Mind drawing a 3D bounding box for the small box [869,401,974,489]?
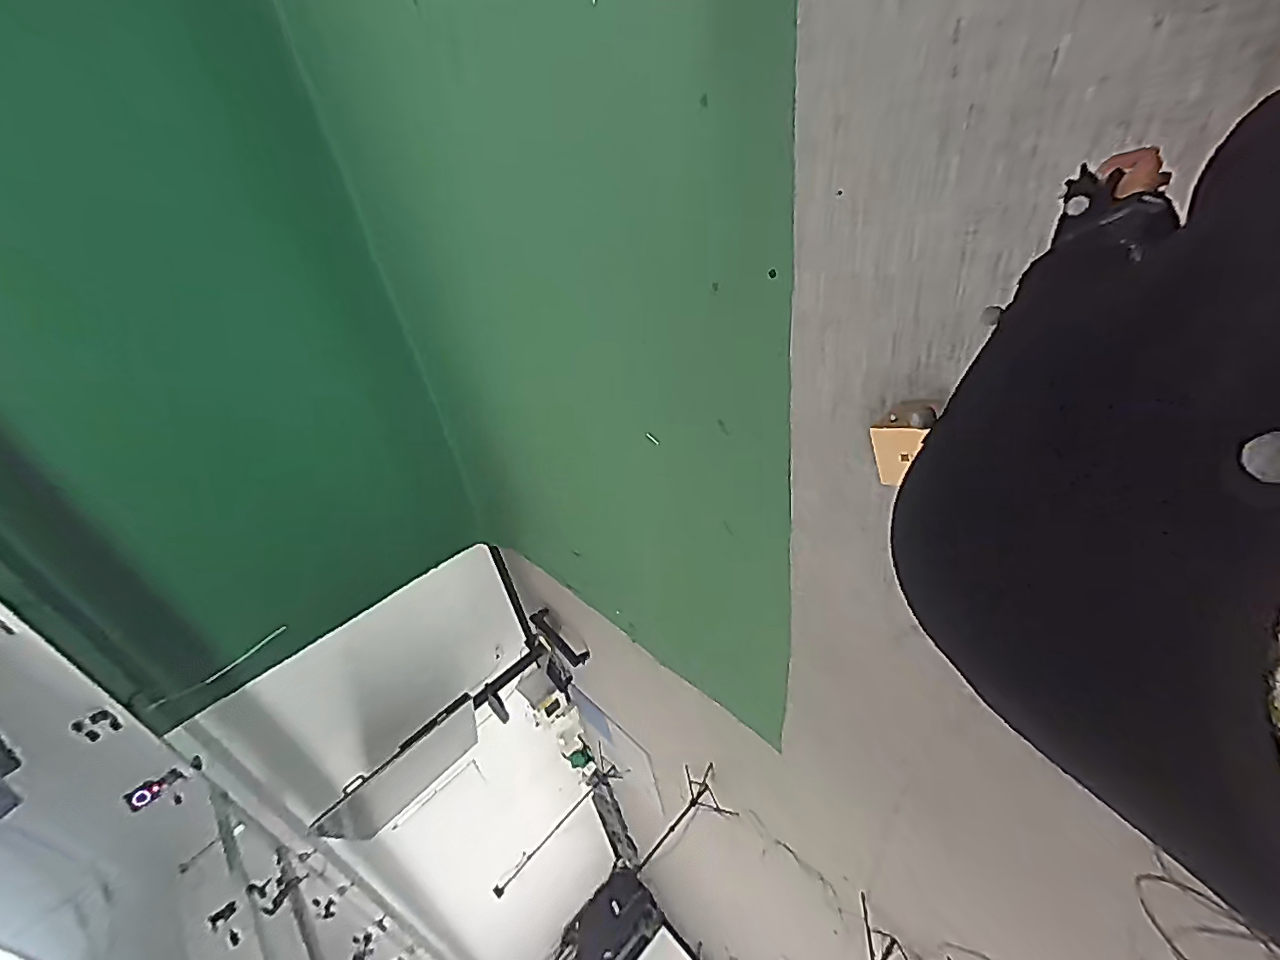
[{"bbox_3d":[0.718,-0.093,1.378,0.179,0.176,0.168,6,124,52],"label":"small box"}]
